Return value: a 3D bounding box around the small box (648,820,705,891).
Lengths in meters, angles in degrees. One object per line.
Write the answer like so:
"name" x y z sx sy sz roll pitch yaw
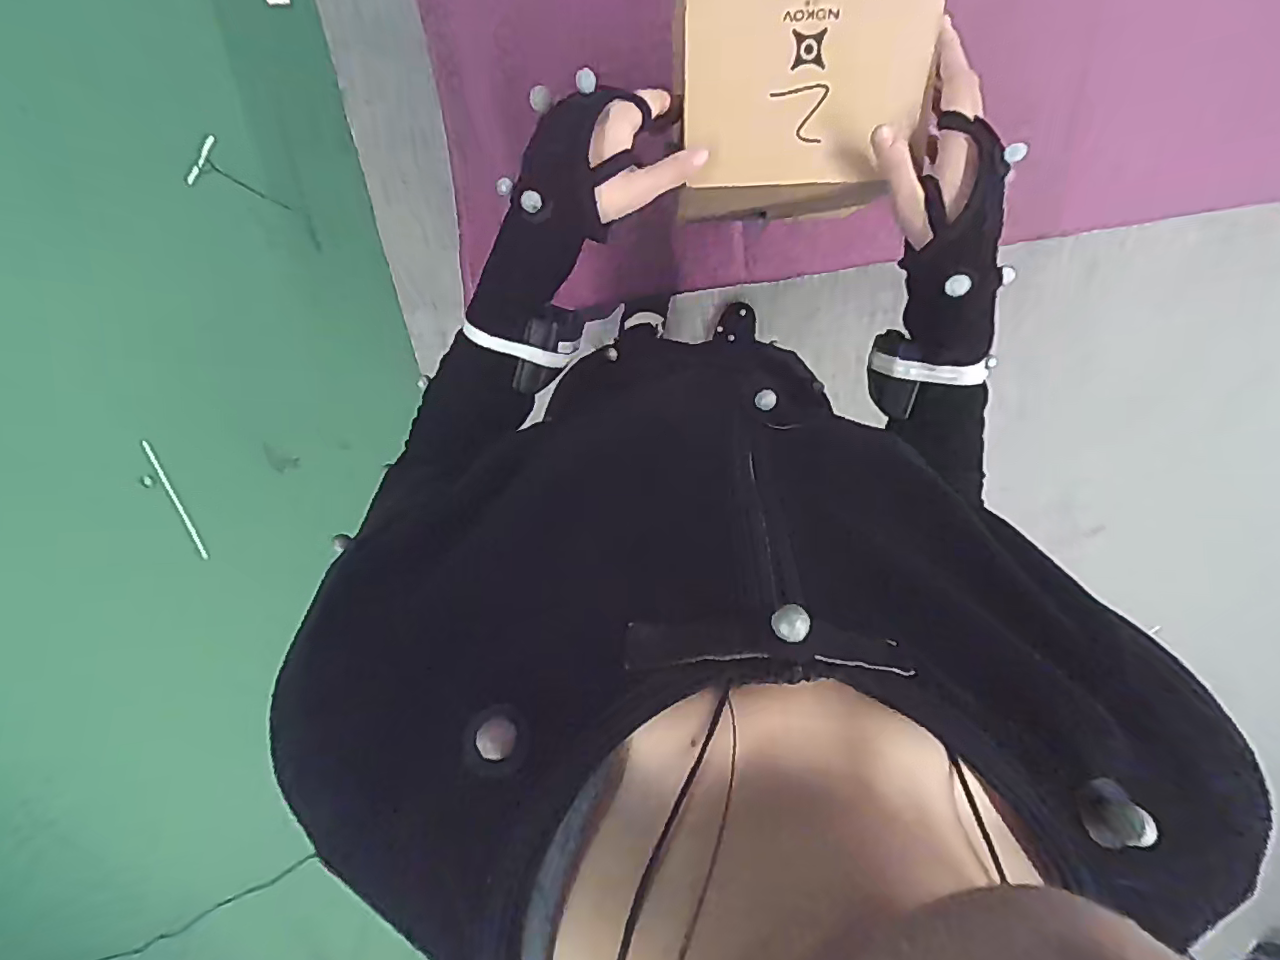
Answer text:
"small box" 0.132 1.405 2.013 0.179 0.176 0.168 -11 112 1

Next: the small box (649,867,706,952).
"small box" 0.125 1.468 1.860 0.168 0.176 0.179 -10 113 2
